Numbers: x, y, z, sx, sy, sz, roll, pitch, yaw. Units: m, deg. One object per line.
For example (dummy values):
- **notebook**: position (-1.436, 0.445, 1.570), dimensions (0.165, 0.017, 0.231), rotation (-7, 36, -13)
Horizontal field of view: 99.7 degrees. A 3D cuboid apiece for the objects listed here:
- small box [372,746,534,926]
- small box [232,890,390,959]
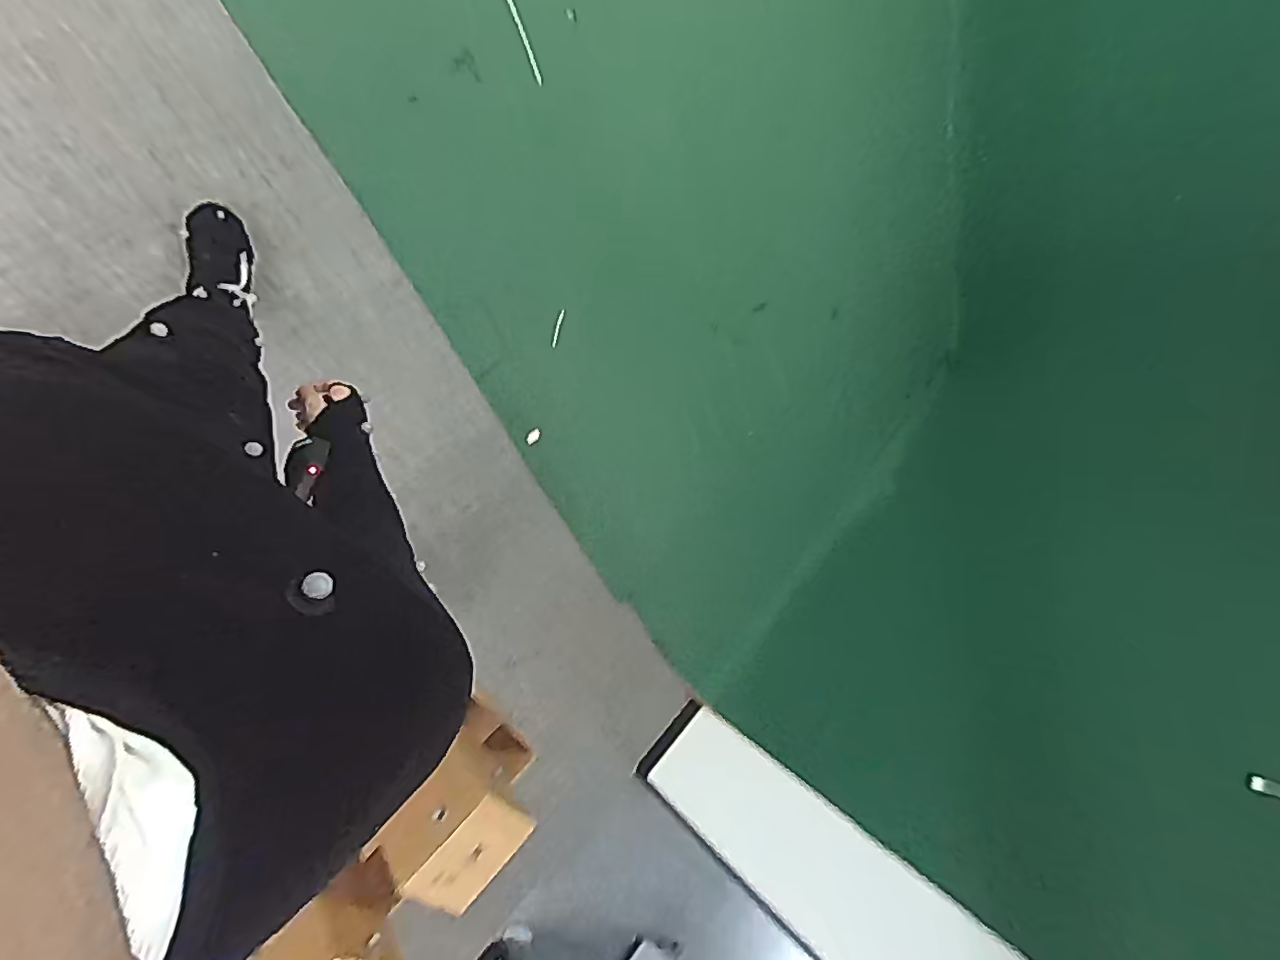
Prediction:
- **small box**: position (-0.324, 0.604, 0.933), dimensions (0.179, 0.176, 0.168), rotation (-43, 130, -20)
- **small box**: position (-0.508, 0.787, 0.838), dimensions (0.168, 0.176, 0.179), rotation (-45, 131, -22)
